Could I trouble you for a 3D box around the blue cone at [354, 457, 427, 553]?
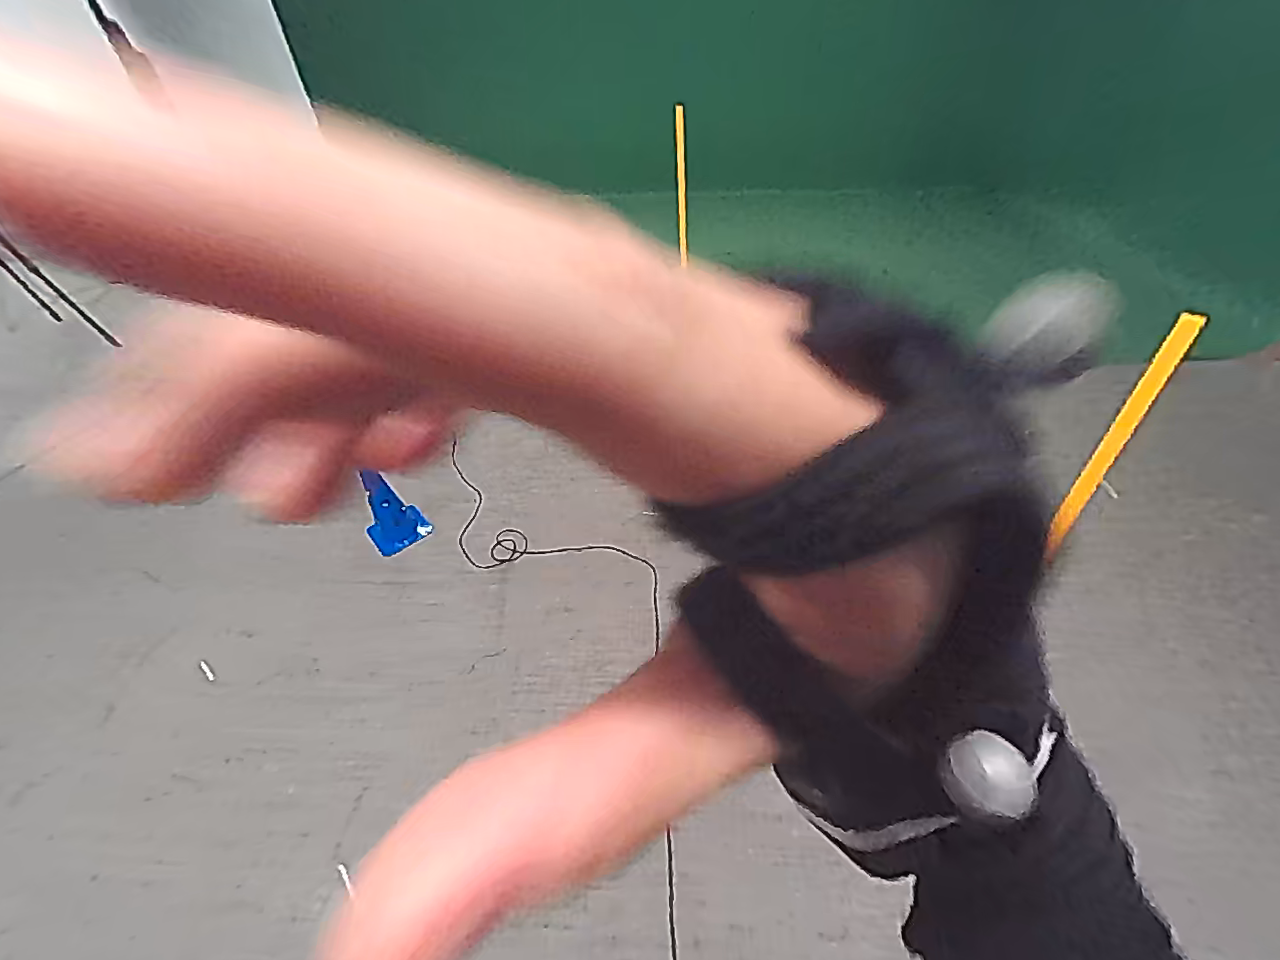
[{"bbox_3d":[-0.938,0.072,1.959,0.193,0.380,0.192,-35,52,-28],"label":"blue cone"}]
